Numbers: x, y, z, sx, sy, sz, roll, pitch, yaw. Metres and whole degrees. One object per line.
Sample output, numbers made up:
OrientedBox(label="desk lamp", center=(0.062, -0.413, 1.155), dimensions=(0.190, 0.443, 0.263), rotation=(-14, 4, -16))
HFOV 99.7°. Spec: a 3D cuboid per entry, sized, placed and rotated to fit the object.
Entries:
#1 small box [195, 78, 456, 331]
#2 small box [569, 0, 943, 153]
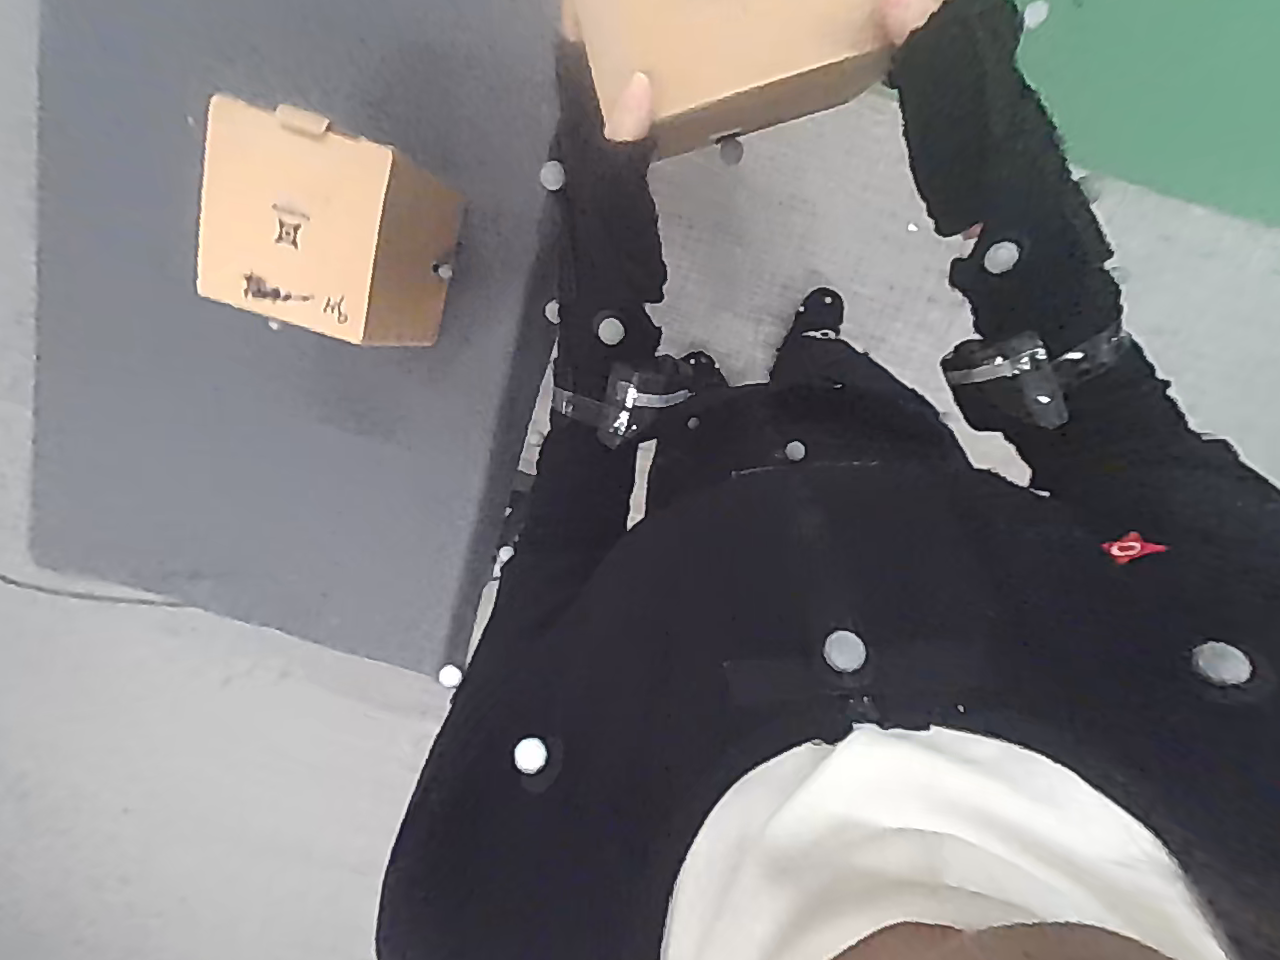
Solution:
OrientedBox(label="small box", center=(-0.314, -0.267, 0.570), dimensions=(0.168, 0.176, 0.179), rotation=(18, 106, 0))
OrientedBox(label="small box", center=(0.044, -0.303, 0.293), dimensions=(0.168, 0.176, 0.179), rotation=(-10, 115, 10))
